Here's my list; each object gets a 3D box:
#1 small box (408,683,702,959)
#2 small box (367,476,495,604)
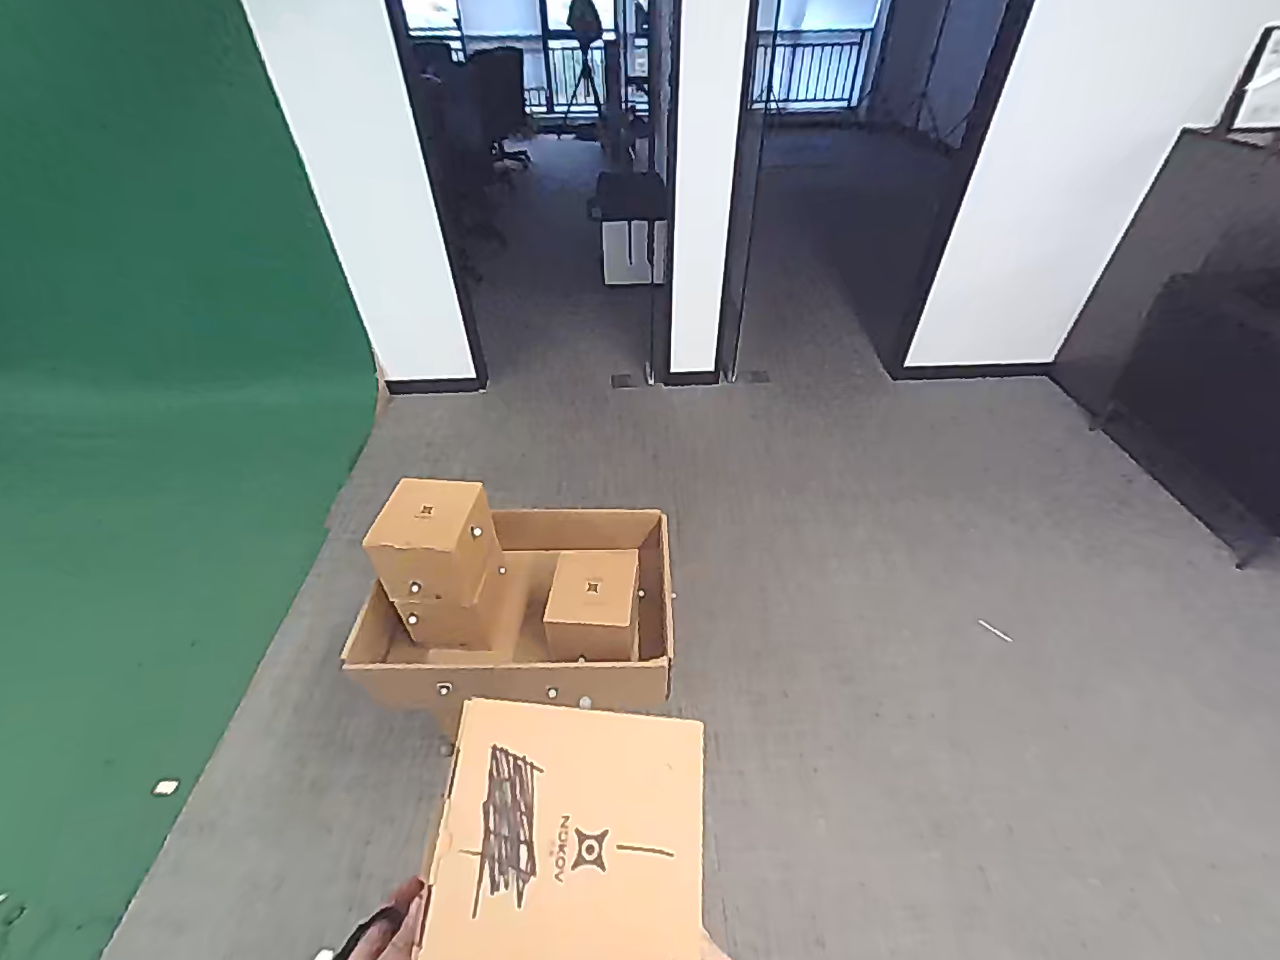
[{"bbox_3d":[-0.065,0.264,0.424,0.179,0.176,0.168,12,62,-13],"label":"small box"},{"bbox_3d":[-0.392,0.115,1.055,0.168,0.176,0.179,4,42,4],"label":"small box"}]
